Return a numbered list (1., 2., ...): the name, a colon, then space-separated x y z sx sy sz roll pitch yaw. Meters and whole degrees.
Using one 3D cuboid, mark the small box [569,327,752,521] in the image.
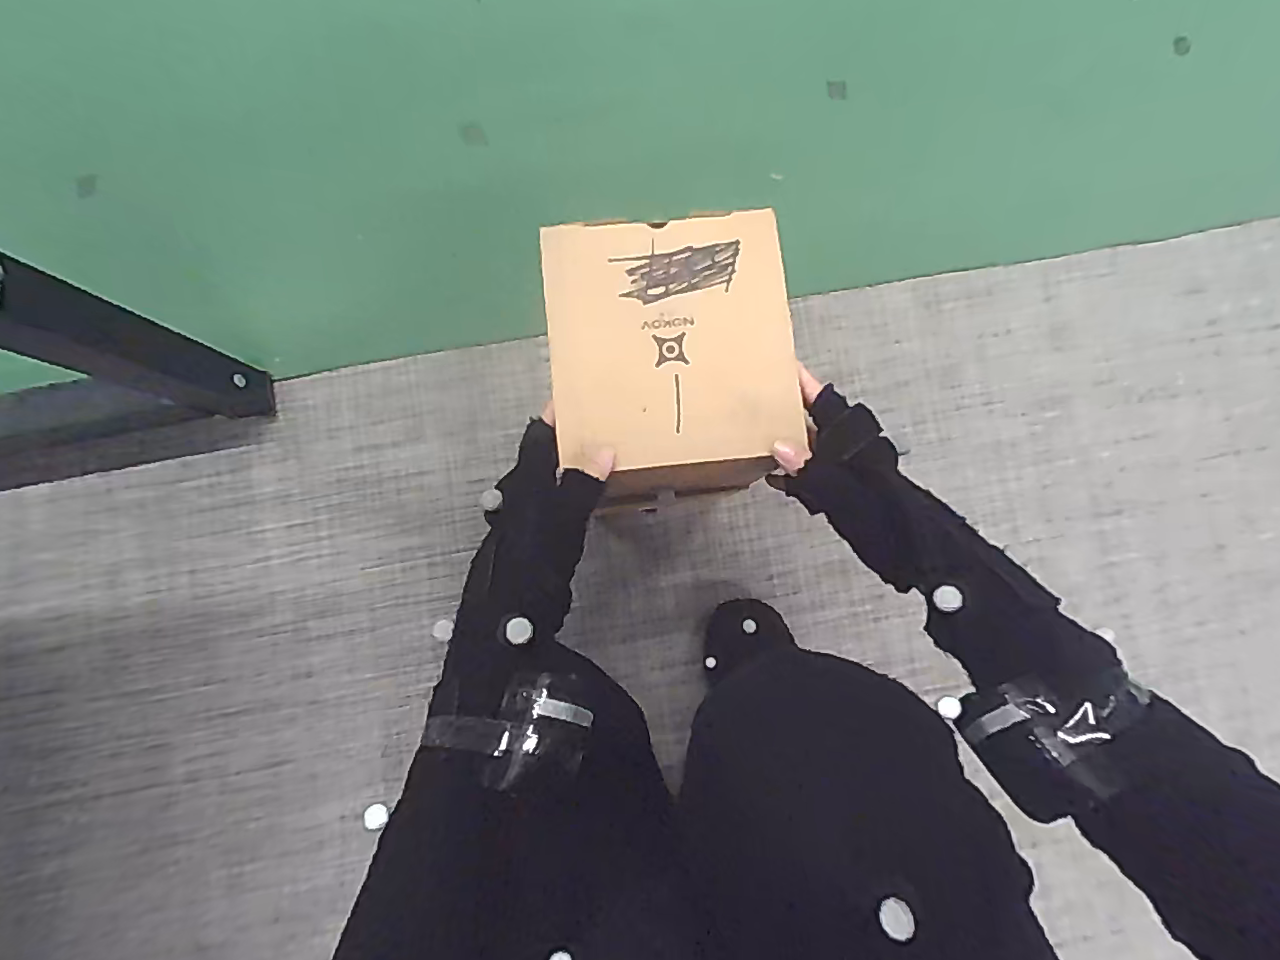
1. small box: 0.017 -0.051 0.609 0.168 0.176 0.179 -7 84 -1
